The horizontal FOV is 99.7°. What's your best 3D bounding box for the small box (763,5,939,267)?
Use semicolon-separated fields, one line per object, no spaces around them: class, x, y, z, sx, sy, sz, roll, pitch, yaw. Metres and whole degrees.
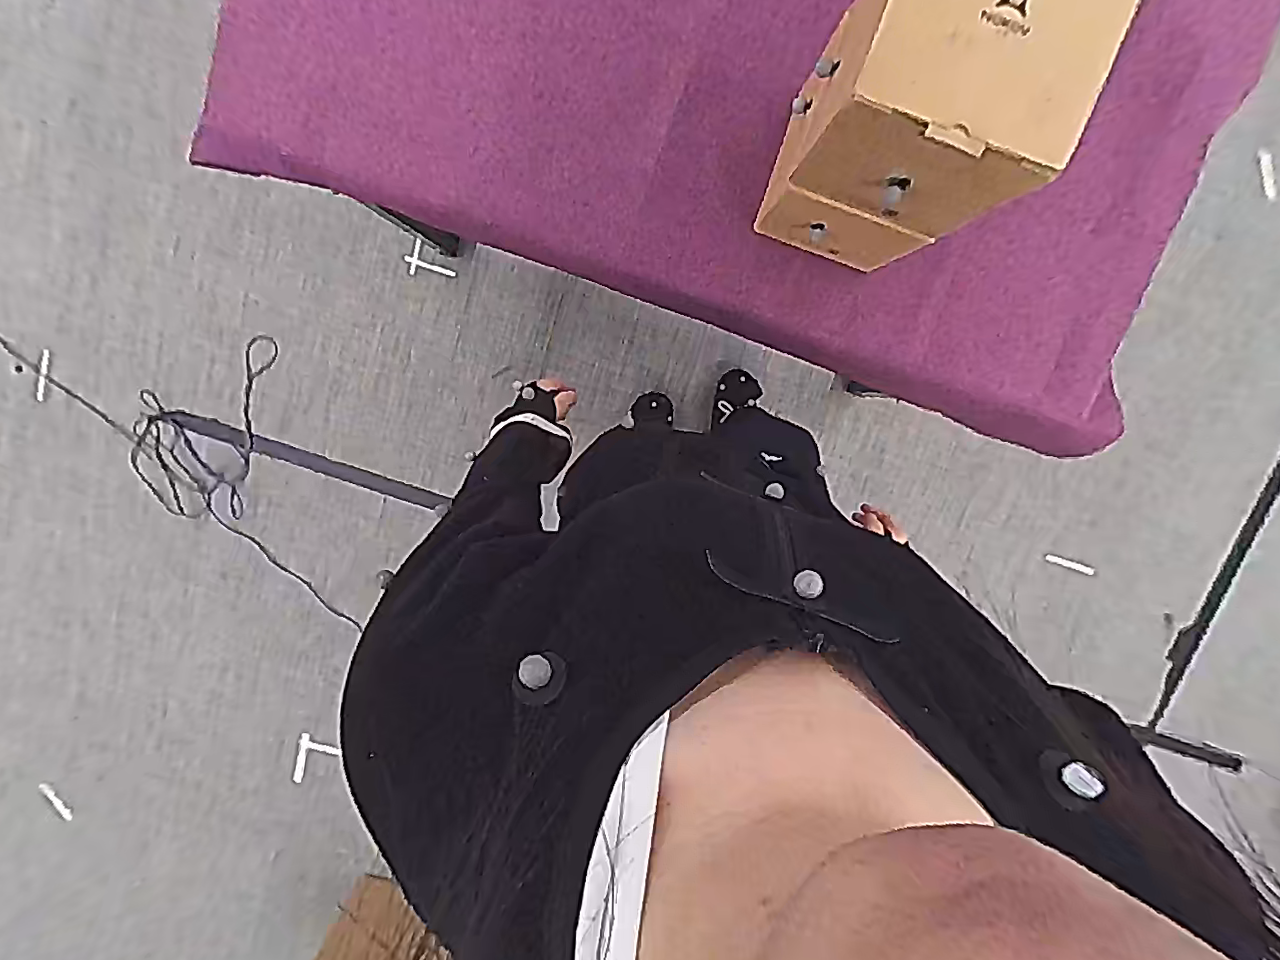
small box;0.253;-0.364;0.615;0.168;0.176;0.179;18;99;-3

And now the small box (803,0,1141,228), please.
small box;0.256;-0.340;0.452;0.168;0.176;0.179;19;100;-3
